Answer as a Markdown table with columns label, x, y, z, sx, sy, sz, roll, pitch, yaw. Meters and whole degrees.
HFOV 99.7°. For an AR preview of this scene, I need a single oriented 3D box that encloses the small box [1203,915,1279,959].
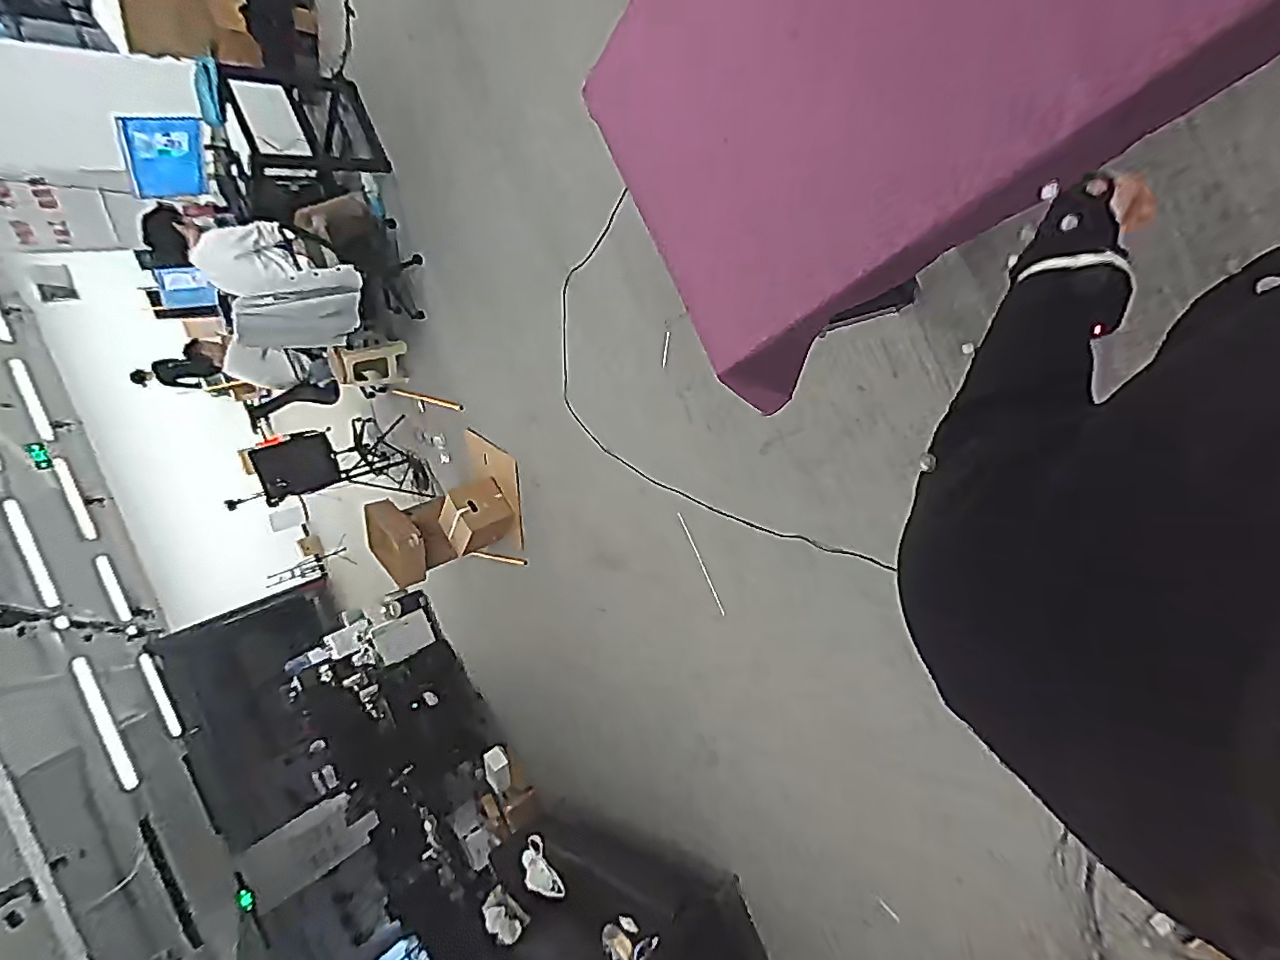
| label | x | y | z | sx | sy | sz | roll | pitch | yaw |
| --- | --- | --- | --- | --- | --- | --- | --- | --- | --- |
| small box | 1.420 | 1.155 | 1.231 | 0.179 | 0.176 | 0.168 | -13 | 97 | 51 |
